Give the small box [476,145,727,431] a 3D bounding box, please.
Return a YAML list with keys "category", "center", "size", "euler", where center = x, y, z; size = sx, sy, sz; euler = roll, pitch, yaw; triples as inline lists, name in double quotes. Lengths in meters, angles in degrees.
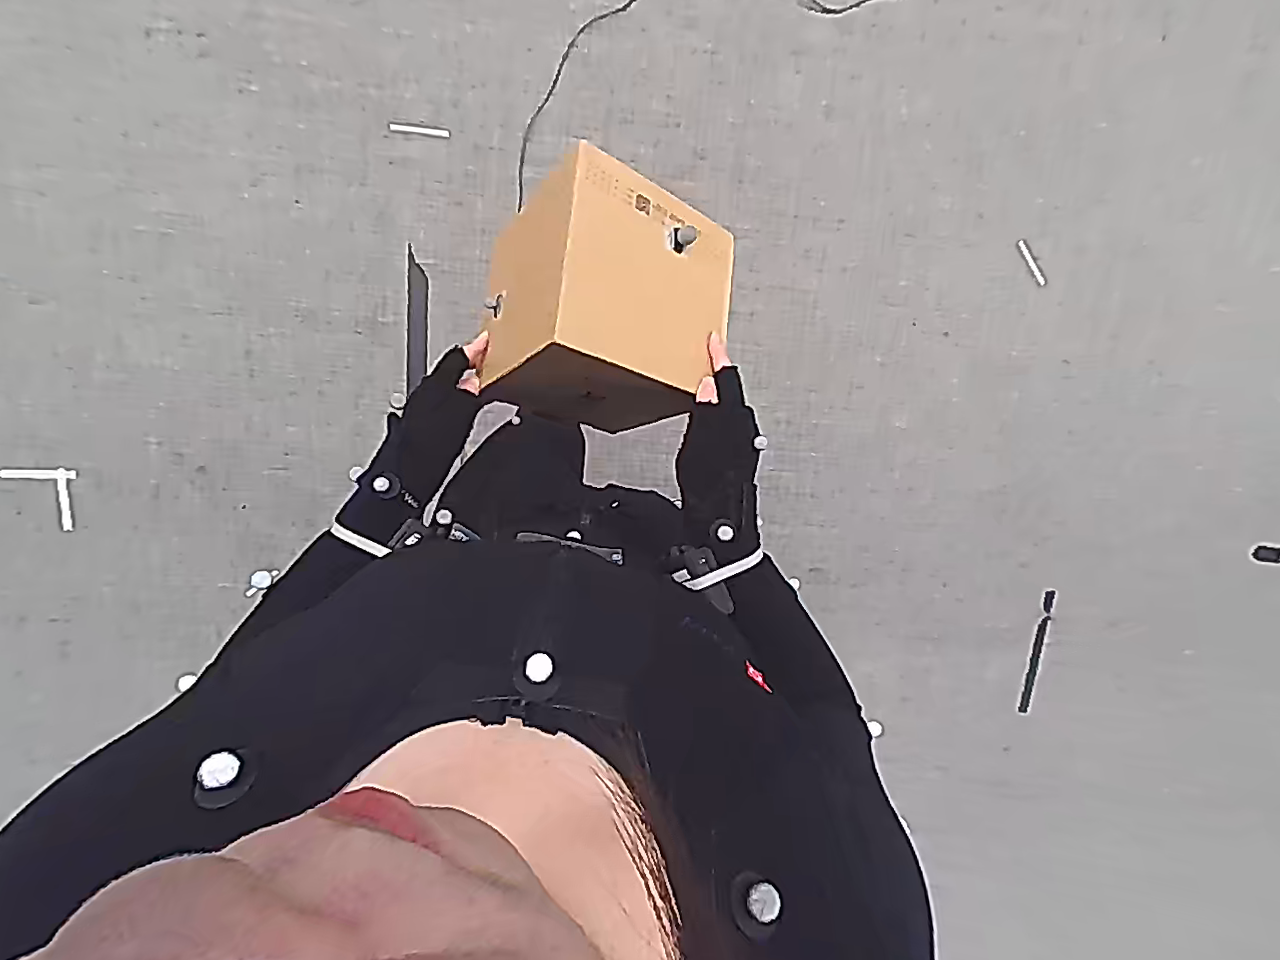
- category: "small box"
  center: [-0.034, -0.159, 0.508]
  size: [0.168, 0.179, 0.176]
  euler: [13, 77, -35]
